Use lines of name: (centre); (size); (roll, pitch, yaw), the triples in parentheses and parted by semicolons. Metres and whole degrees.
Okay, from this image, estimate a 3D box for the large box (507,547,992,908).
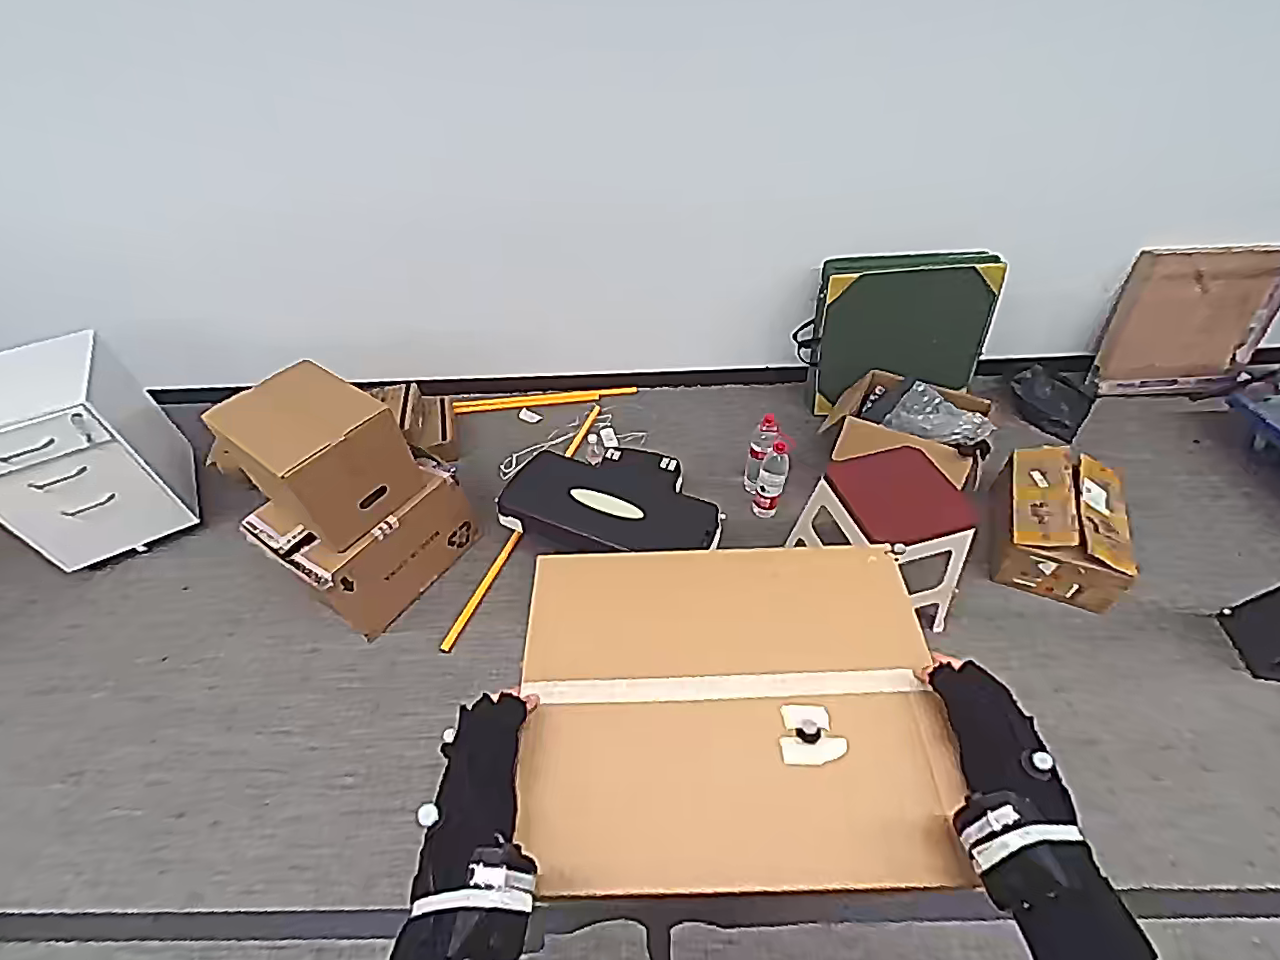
large box: (0.087, 0.299, 0.643); (0.408, 0.320, 0.320); (-2, 50, 1)
